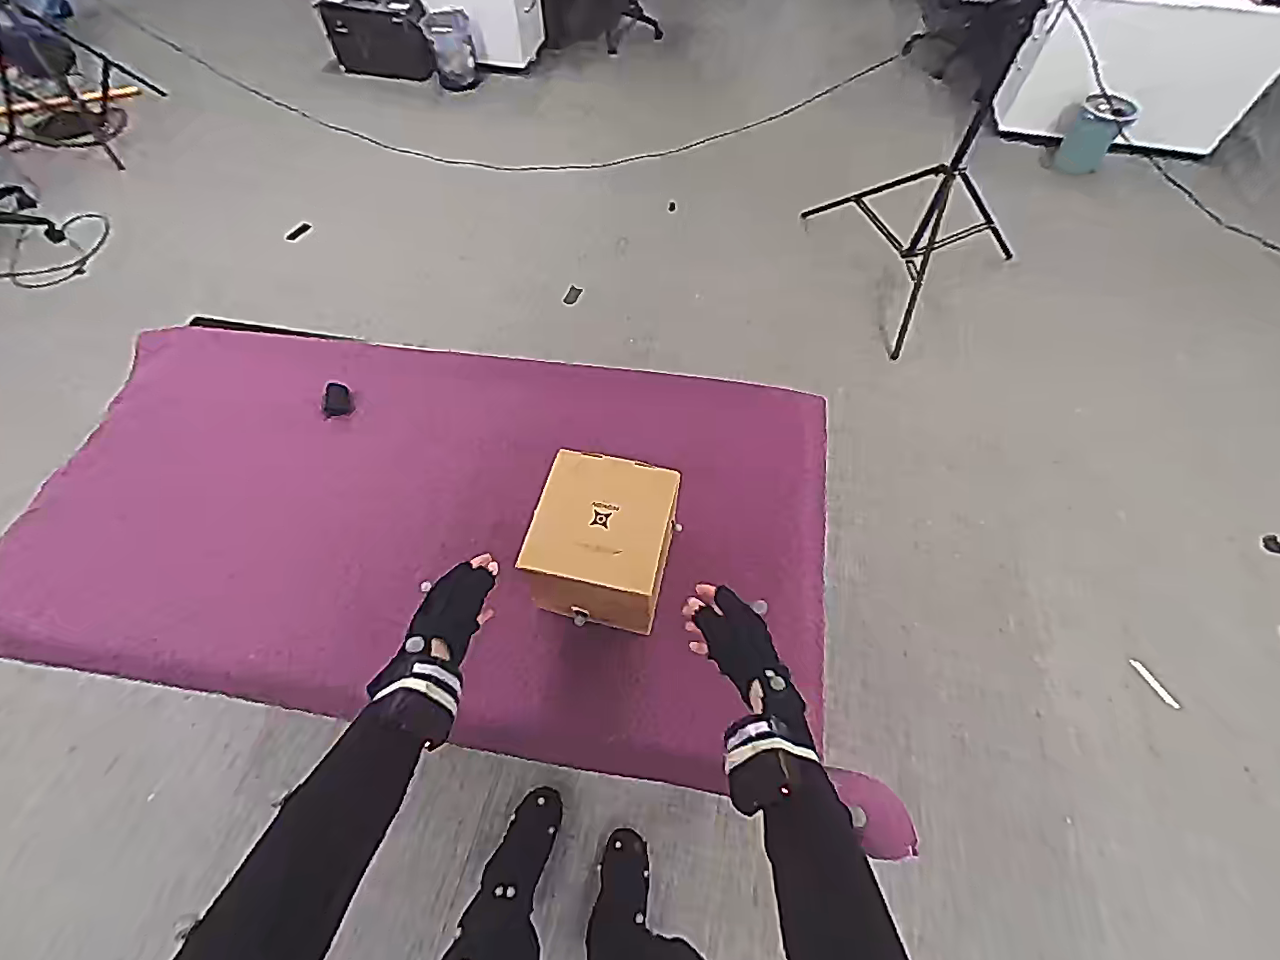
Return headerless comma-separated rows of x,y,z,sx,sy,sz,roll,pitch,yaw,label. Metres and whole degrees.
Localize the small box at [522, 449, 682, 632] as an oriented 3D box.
-0.043,0.086,0.738,0.168,0.176,0.179,11,59,7,small box
